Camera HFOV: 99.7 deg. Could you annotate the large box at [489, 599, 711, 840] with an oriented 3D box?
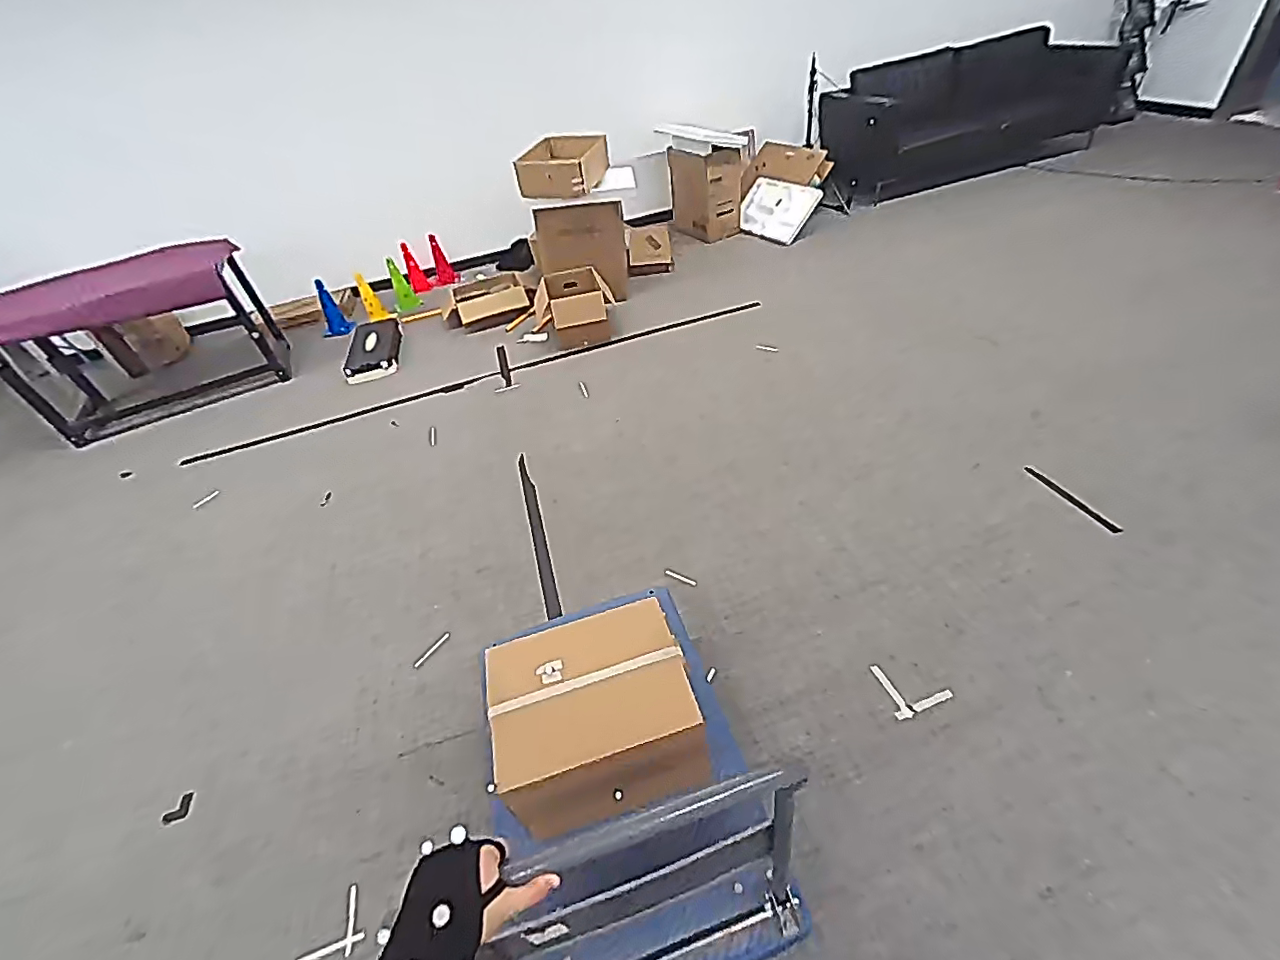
[{"bbox_3d":[-0.086,0.537,1.223,0.408,0.320,0.320,-17,41,-6],"label":"large box"}]
